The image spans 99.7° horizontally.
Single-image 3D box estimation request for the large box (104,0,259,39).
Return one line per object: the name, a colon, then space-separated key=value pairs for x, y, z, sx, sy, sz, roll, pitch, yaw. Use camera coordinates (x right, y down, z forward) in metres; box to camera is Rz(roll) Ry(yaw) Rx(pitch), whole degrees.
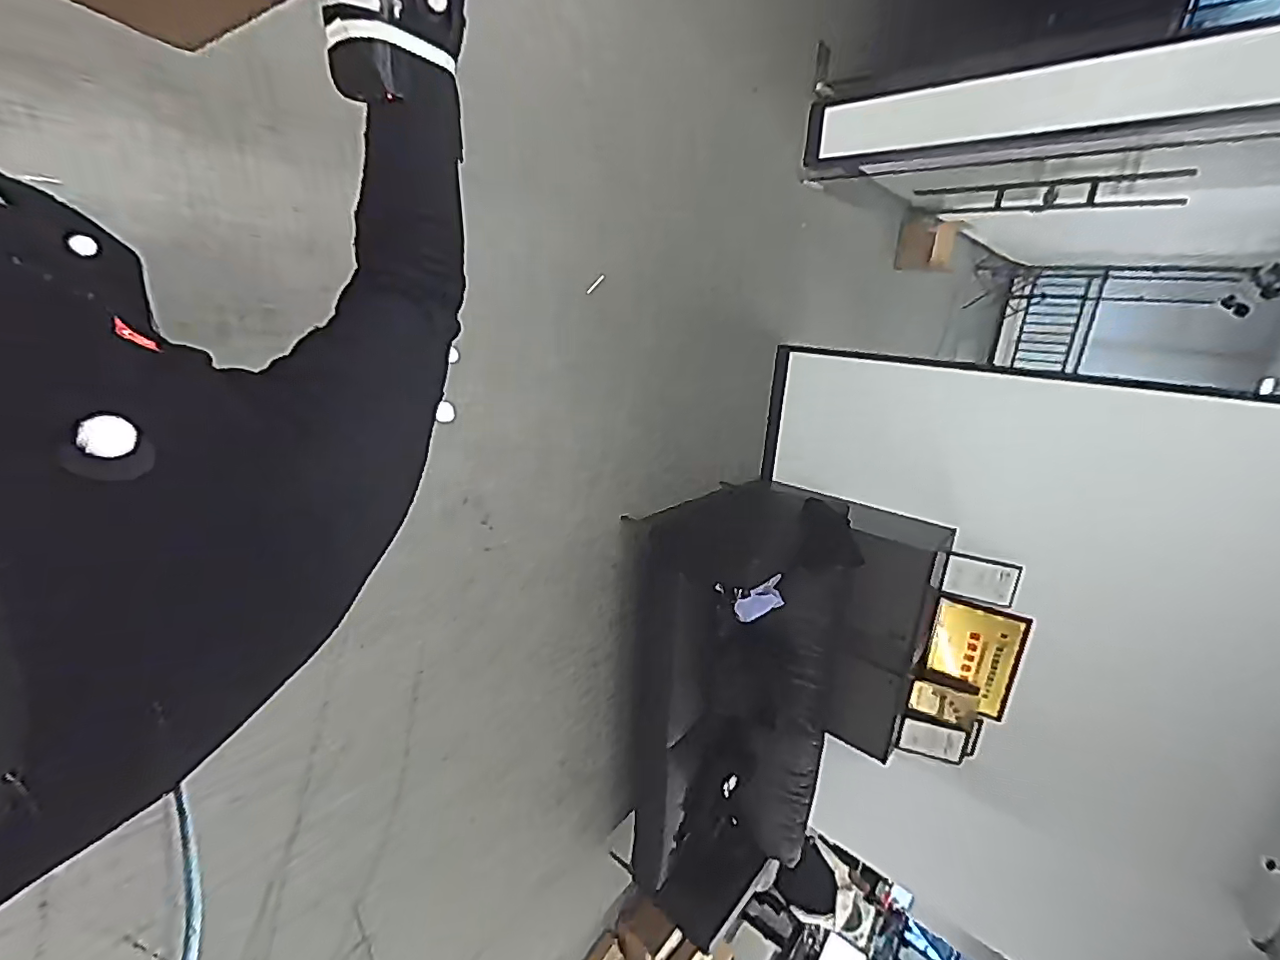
large box: x=-0.406 y=-0.498 z=0.240 sx=0.408 sy=0.320 sz=0.320 roll=-6 pitch=114 yaw=-50
